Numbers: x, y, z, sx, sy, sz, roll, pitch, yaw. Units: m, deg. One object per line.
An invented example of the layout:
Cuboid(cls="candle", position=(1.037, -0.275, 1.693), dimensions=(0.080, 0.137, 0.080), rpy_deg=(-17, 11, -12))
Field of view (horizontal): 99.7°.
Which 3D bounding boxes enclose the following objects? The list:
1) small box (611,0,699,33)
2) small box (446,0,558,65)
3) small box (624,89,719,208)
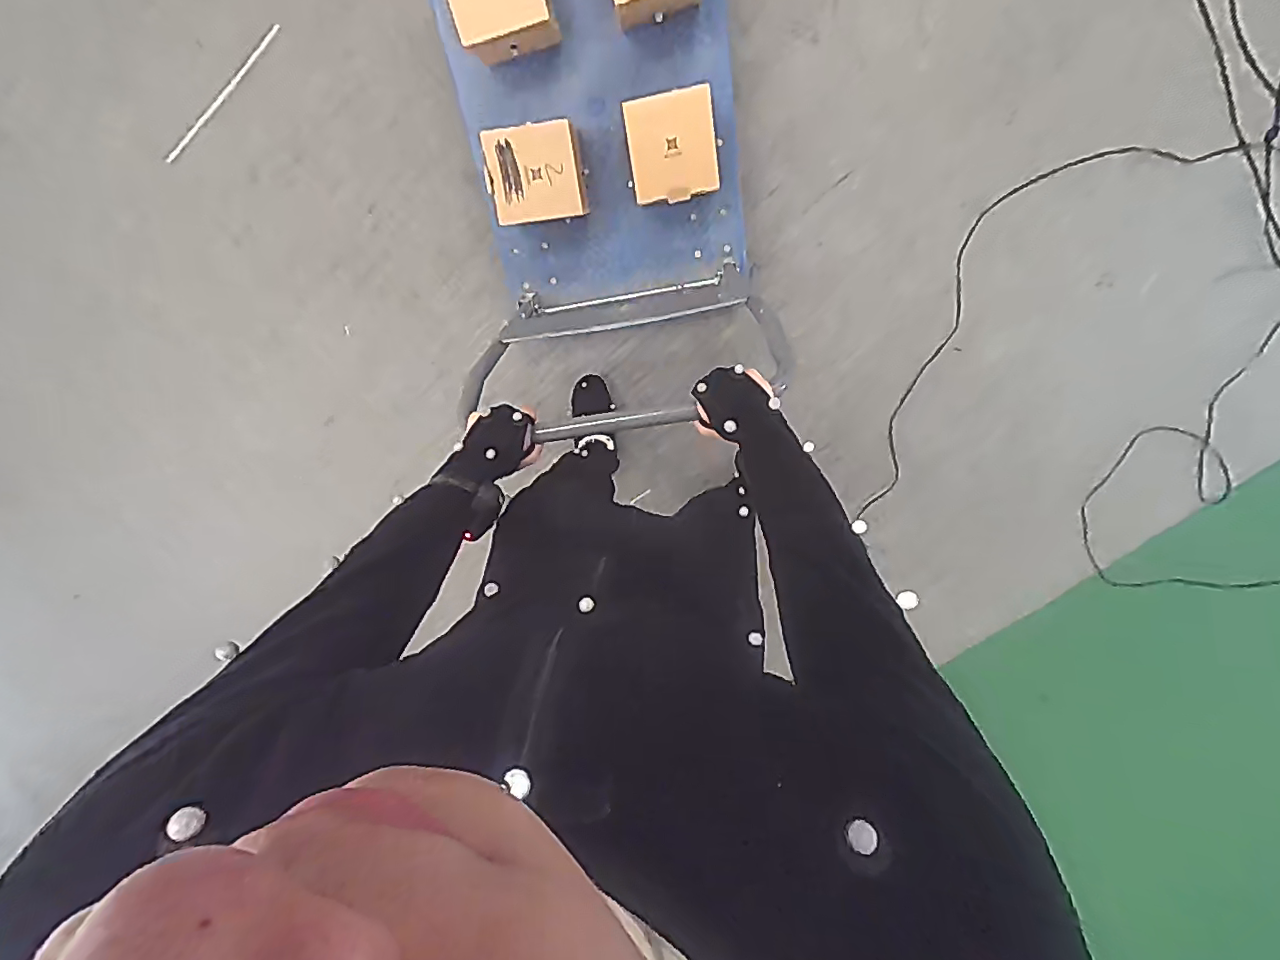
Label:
Cuboid(cls="small box", position=(0.014, -0.943, 0.959), dimensions=(0.168, 0.176, 0.179), rpy_deg=(-13, 118, 8))
Cuboid(cls="small box", position=(-0.258, -0.892, 0.989), dimensions=(0.168, 0.176, 0.179), rpy_deg=(-12, 117, 6))
Cuboid(cls="small box", position=(0.062, -0.667, 1.106), dimensions=(0.168, 0.176, 0.179), rpy_deg=(-9, 118, 6))
